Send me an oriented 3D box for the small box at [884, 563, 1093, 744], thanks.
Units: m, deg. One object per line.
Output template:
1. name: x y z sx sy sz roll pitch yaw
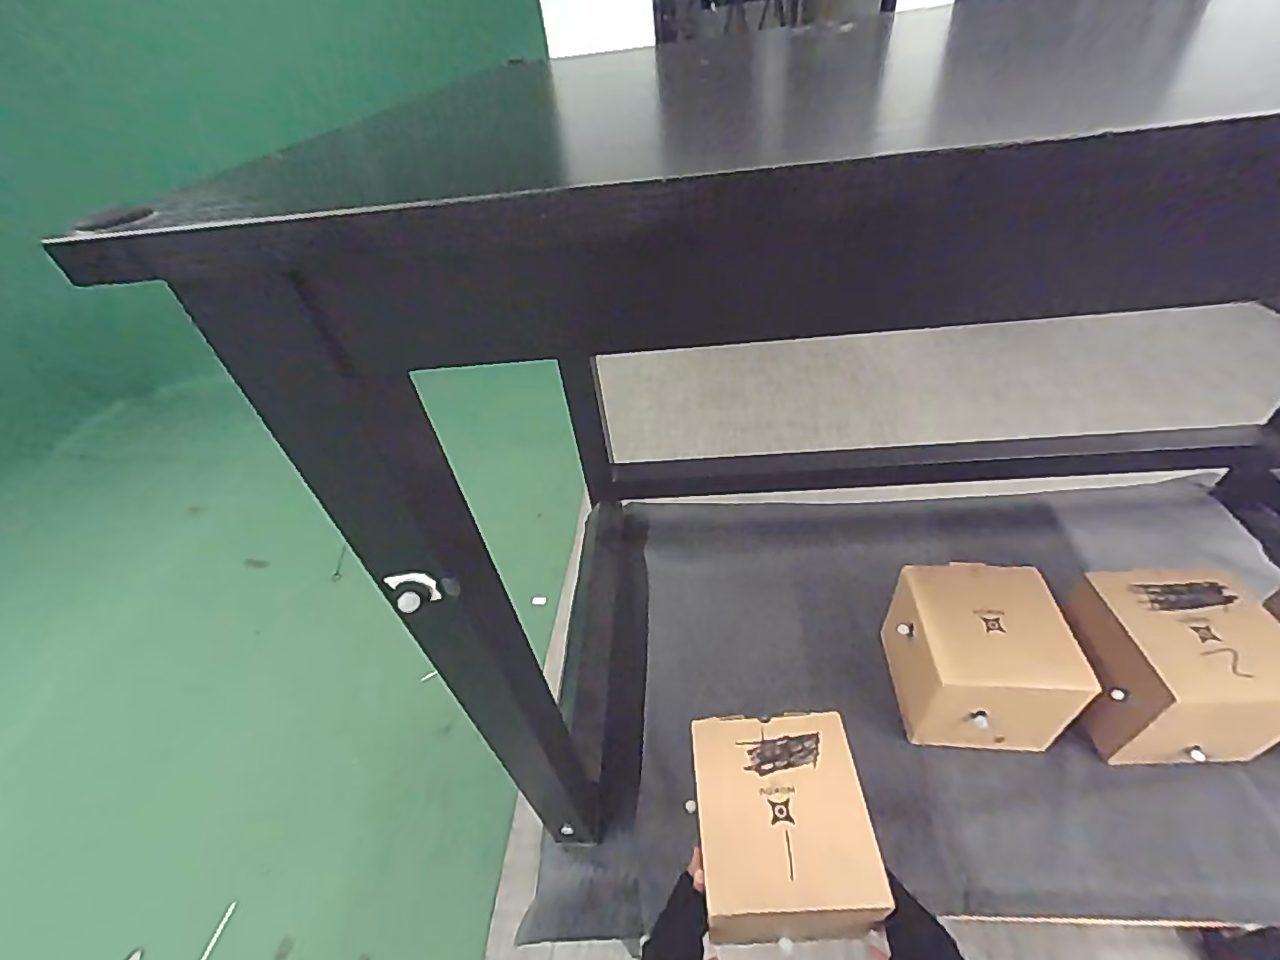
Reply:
1. small box: 0.440 0.231 0.721 0.168 0.176 0.179 -1 42 9

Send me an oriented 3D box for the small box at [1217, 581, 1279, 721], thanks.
1. small box: 0.882 0.225 0.646 0.168 0.176 0.179 -4 41 5

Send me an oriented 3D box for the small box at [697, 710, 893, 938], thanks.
1. small box: 0.151 0.379 0.597 0.168 0.176 0.179 -5 43 3
